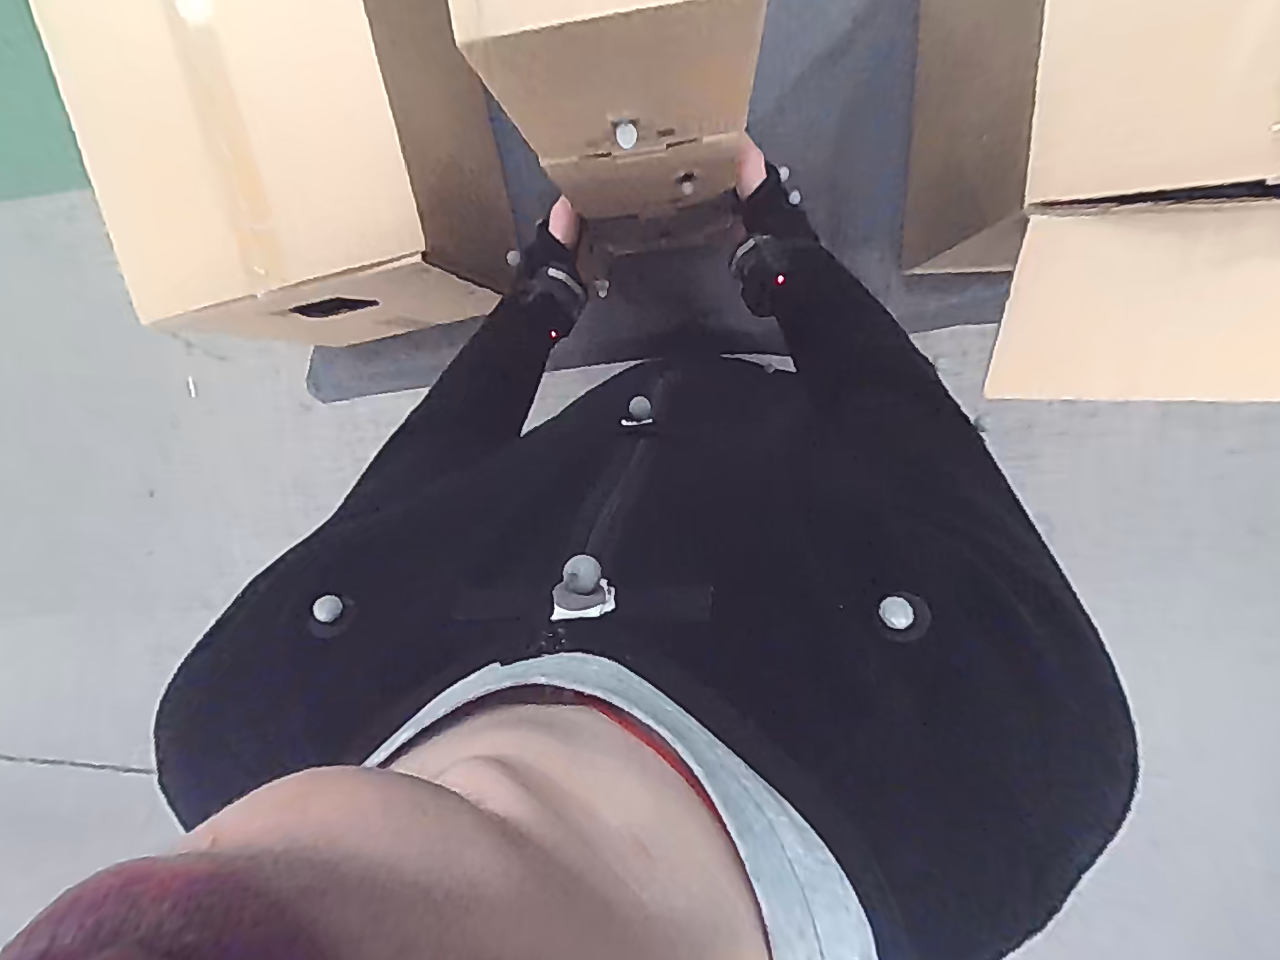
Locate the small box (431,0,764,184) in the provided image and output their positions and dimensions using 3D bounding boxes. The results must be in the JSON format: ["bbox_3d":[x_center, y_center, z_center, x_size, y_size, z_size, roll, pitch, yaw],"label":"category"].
[{"bbox_3d":[-0.020,-0.307,0.328,0.168,0.176,0.179,-4,103,8],"label":"small box"}]

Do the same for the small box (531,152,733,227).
[{"bbox_3d":[-0.005,-0.342,0.489,0.168,0.176,0.179,-5,101,7],"label":"small box"}]
